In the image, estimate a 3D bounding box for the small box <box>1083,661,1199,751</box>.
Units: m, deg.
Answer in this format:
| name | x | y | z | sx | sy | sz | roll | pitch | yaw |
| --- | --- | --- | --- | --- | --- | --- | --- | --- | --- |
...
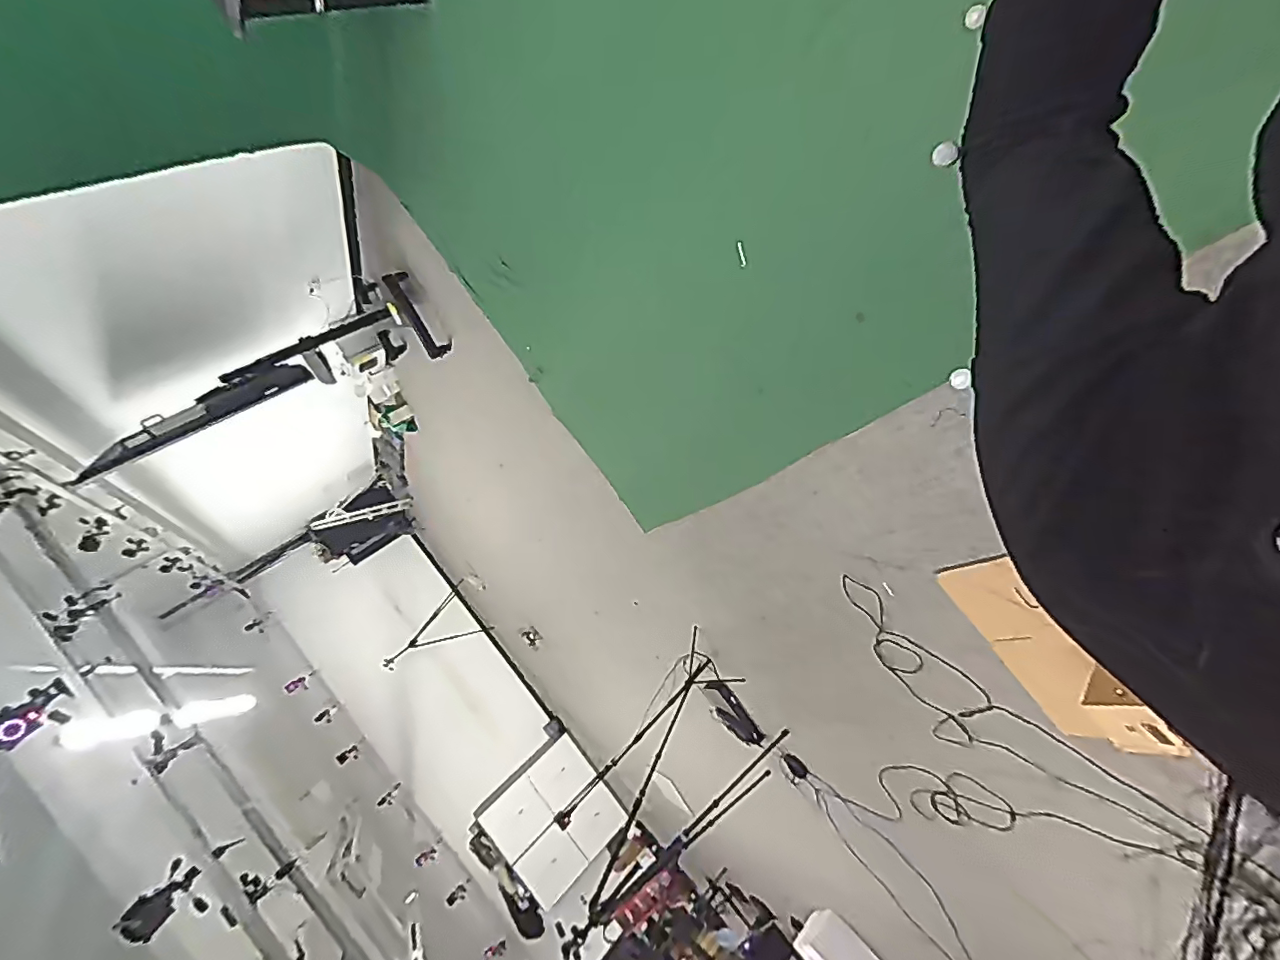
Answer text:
| name | x | y | z | sx | sy | sz | roll | pitch | yaw |
| --- | --- | --- | --- | --- | --- | --- | --- | --- | --- |
| small box | 1.400 | 0.624 | 1.507 | 0.168 | 0.176 | 0.179 | 50 | 151 | 4 |
